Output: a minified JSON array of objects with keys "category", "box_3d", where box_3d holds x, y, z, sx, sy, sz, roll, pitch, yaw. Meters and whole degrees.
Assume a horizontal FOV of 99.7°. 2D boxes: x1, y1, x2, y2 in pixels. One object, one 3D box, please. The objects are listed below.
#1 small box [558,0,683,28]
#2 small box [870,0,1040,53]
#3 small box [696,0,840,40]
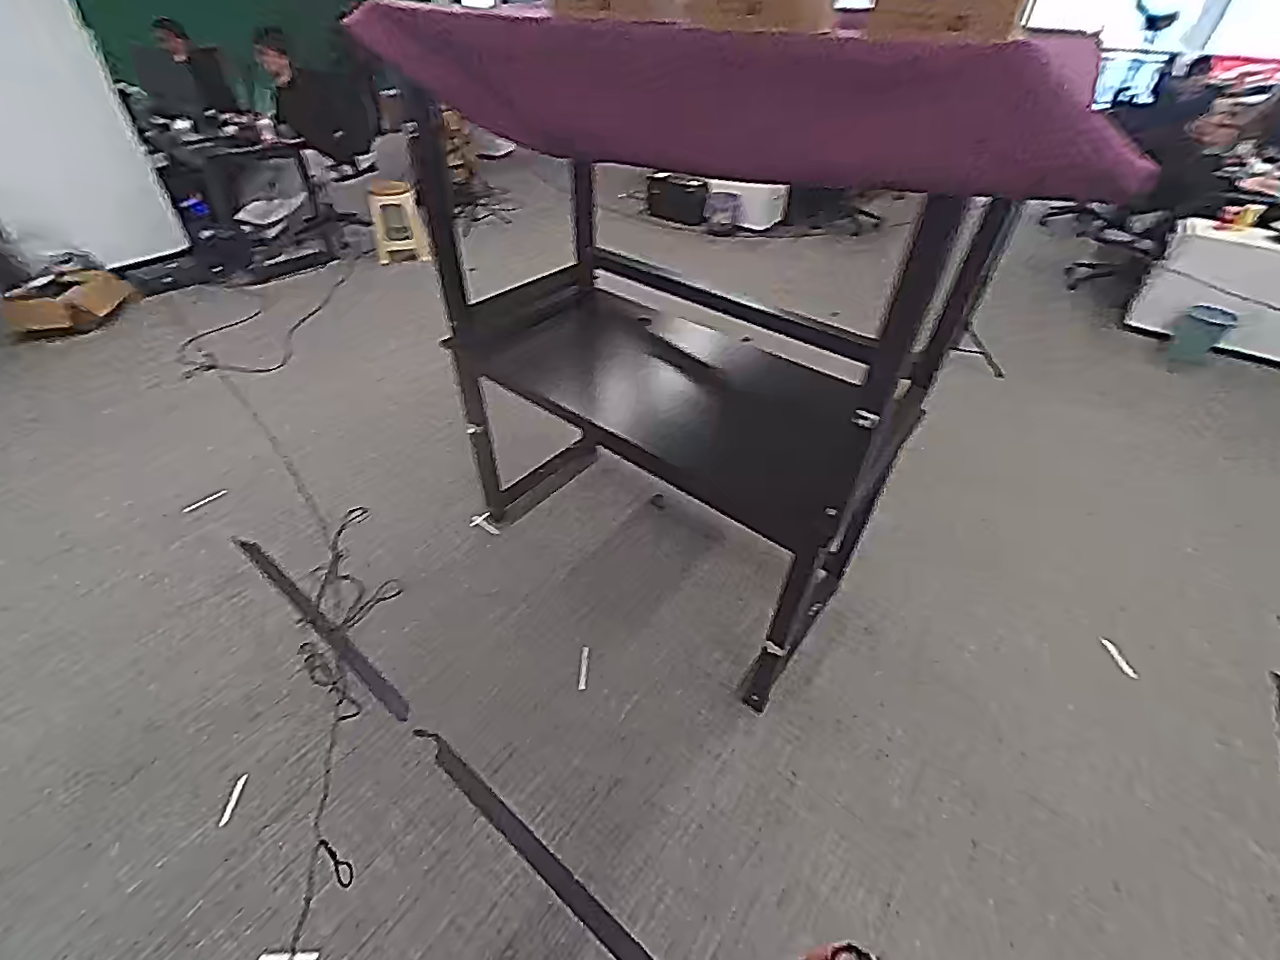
[{"category":"small box","box_3d":[-0.028,-0.840,0.871,0.168,0.176,0.179,21,45,20]},{"category":"small box","box_3d":[0.387,-0.610,0.626,0.168,0.176,0.179,23,44,23]},{"category":"small box","box_3d":[0.190,-0.728,0.756,0.168,0.176,0.179,26,46,24]}]
